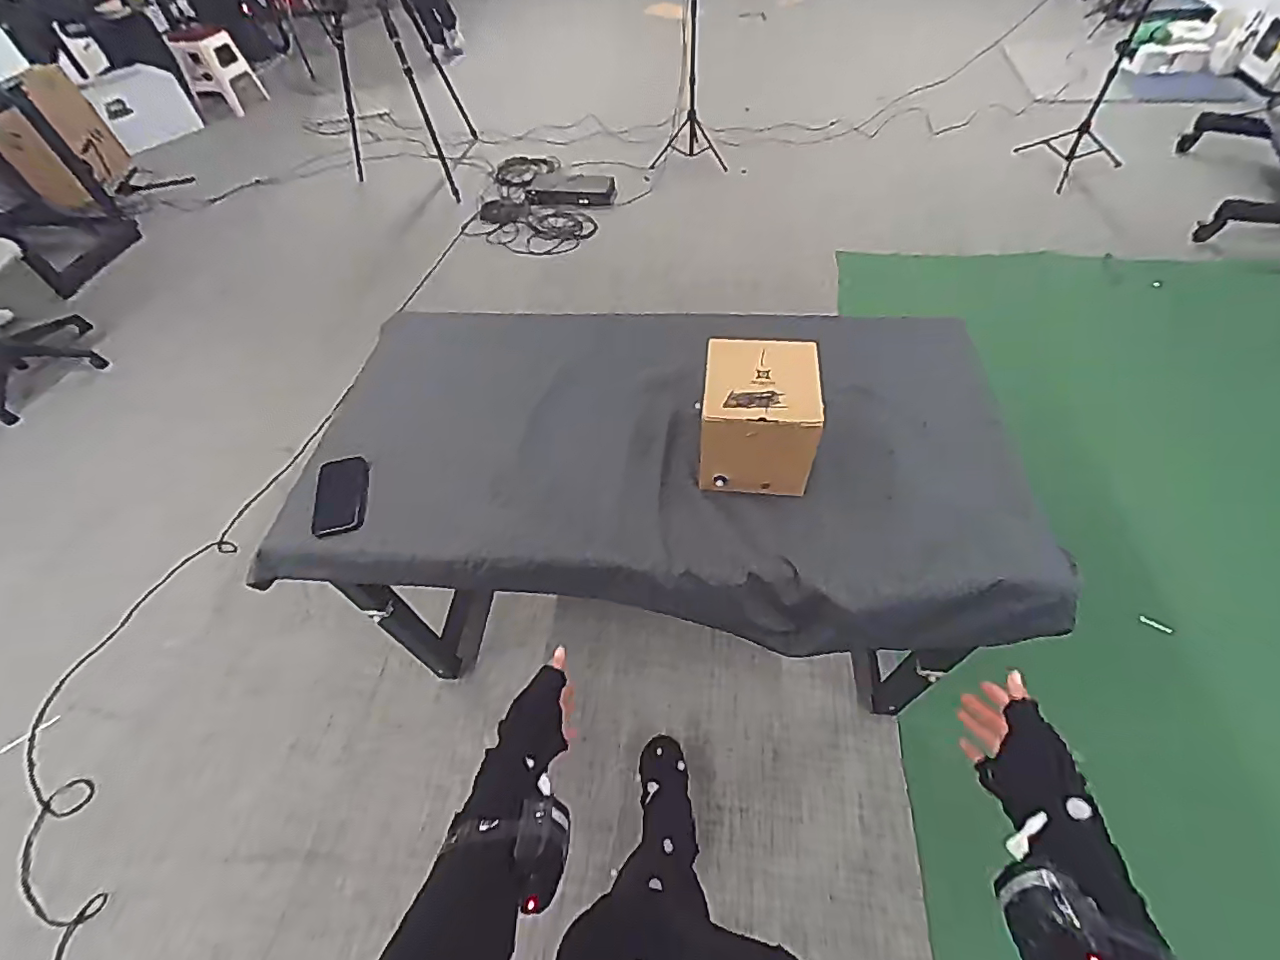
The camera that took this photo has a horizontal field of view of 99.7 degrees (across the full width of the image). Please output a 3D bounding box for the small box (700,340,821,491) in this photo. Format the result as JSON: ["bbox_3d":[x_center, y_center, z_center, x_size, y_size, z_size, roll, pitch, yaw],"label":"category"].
[{"bbox_3d":[0.184,-0.100,0.860,0.168,0.176,0.179,4,52,7],"label":"small box"}]
